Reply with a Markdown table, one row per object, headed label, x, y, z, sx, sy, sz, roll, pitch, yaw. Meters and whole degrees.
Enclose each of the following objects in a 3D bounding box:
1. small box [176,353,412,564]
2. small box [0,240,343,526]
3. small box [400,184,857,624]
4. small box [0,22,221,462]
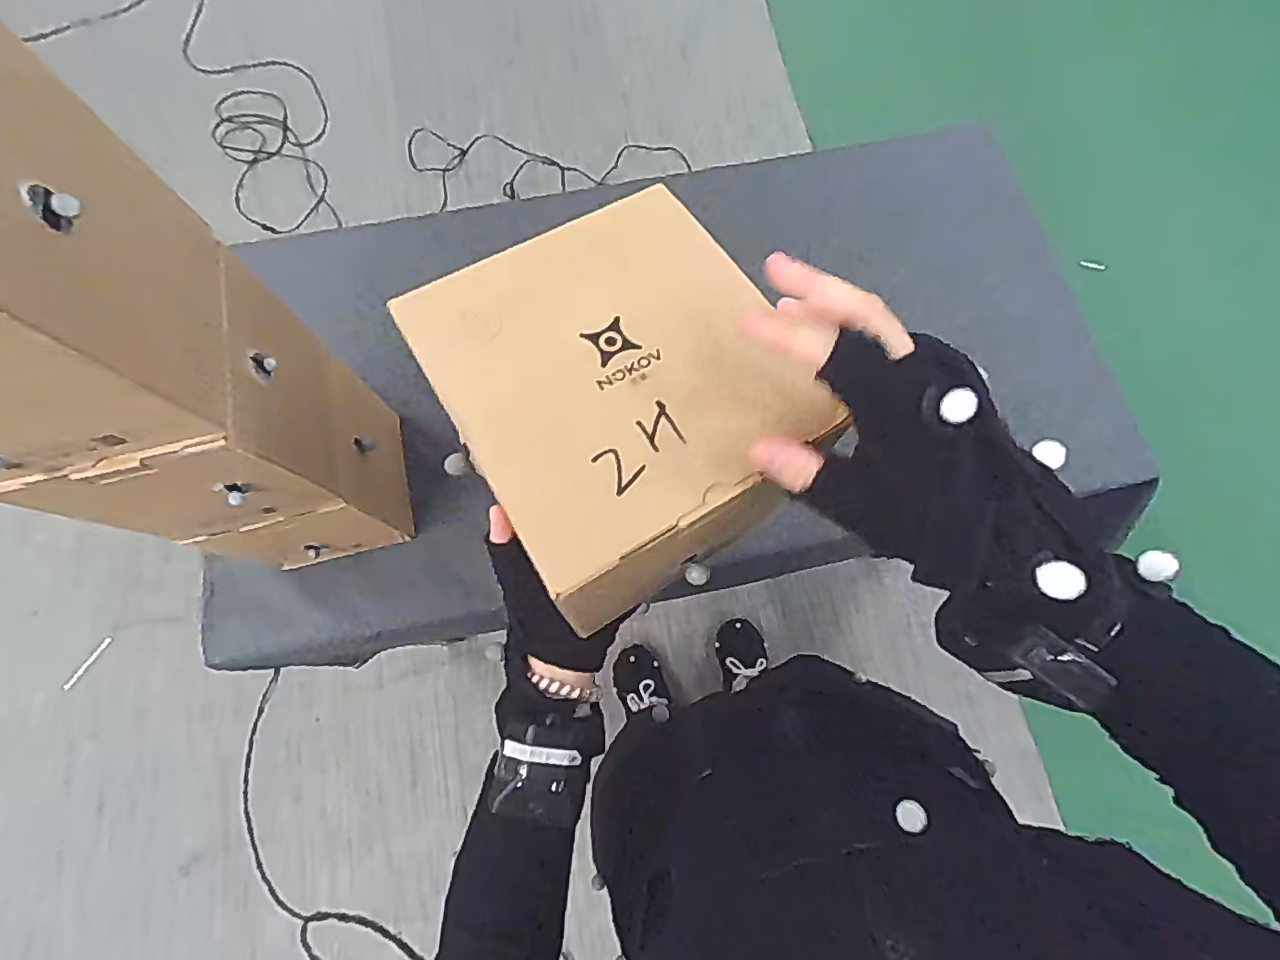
| label | x | y | z | sx | sy | sz | roll | pitch | yaw |
| --- | --- | --- | --- | --- | --- | --- | --- | --- | --- |
| small box | -0.381 | -0.016 | 0.621 | 0.168 | 0.176 | 0.179 | -13 | 74 | -4 |
| small box | -0.381 | -0.066 | 0.466 | 0.168 | 0.176 | 0.179 | -13 | 73 | -5 |
| small box | -0.013 | -0.033 | 0.336 | 0.168 | 0.176 | 0.179 | -29 | 72 | -13 |
| small box | -0.382 | -0.121 | 0.312 | 0.168 | 0.176 | 0.179 | -14 | 73 | -6 |
